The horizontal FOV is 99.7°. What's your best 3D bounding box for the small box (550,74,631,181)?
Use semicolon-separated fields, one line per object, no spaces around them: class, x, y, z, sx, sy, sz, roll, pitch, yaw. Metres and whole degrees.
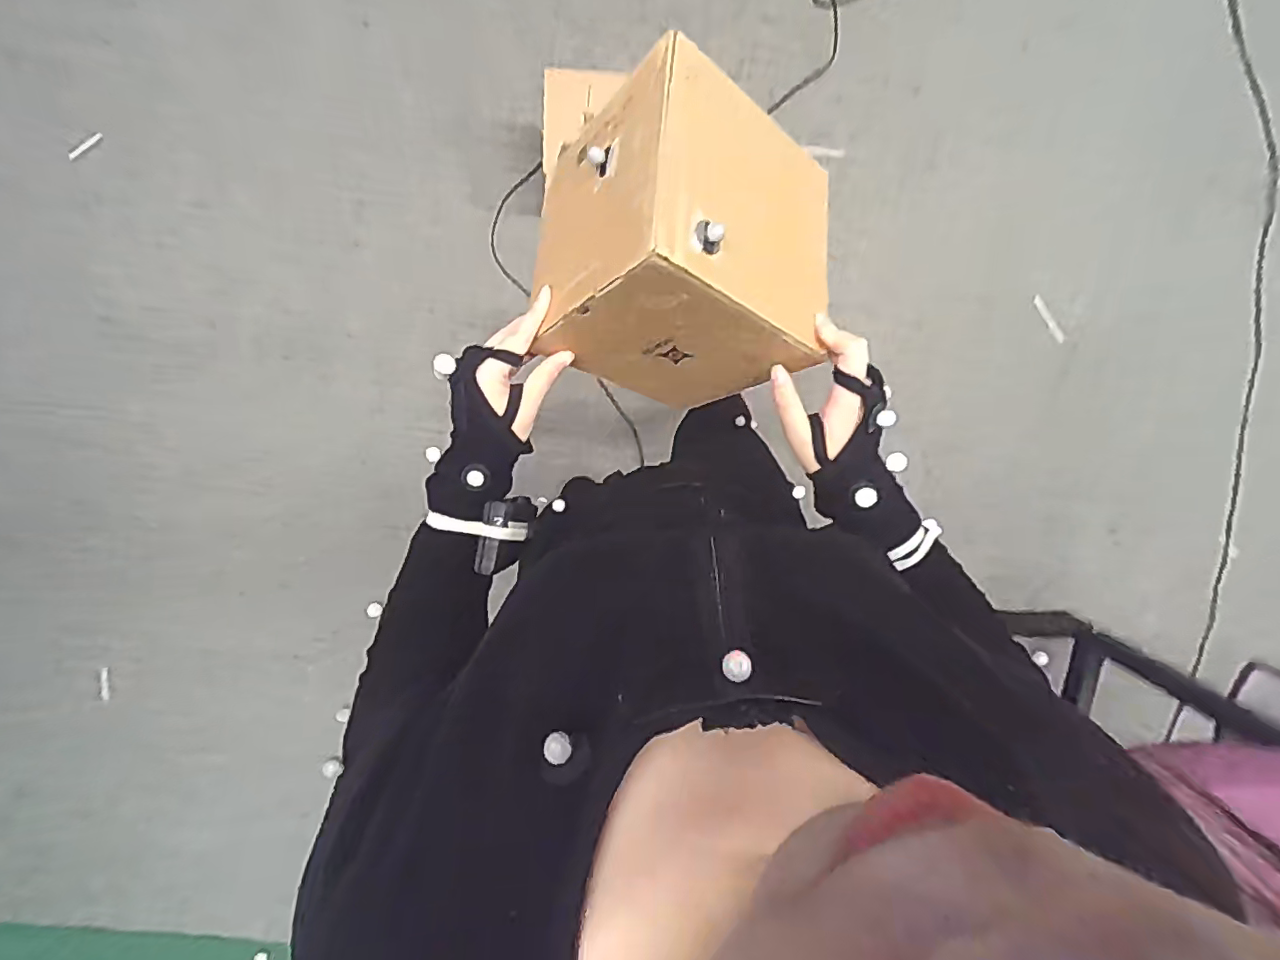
small box;-0.084;-0.673;1.090;0.168;0.176;0.179;3;101;-1

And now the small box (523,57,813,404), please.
small box;0.028;-0.184;0.449;0.179;0.168;0.176;17;72;-35
